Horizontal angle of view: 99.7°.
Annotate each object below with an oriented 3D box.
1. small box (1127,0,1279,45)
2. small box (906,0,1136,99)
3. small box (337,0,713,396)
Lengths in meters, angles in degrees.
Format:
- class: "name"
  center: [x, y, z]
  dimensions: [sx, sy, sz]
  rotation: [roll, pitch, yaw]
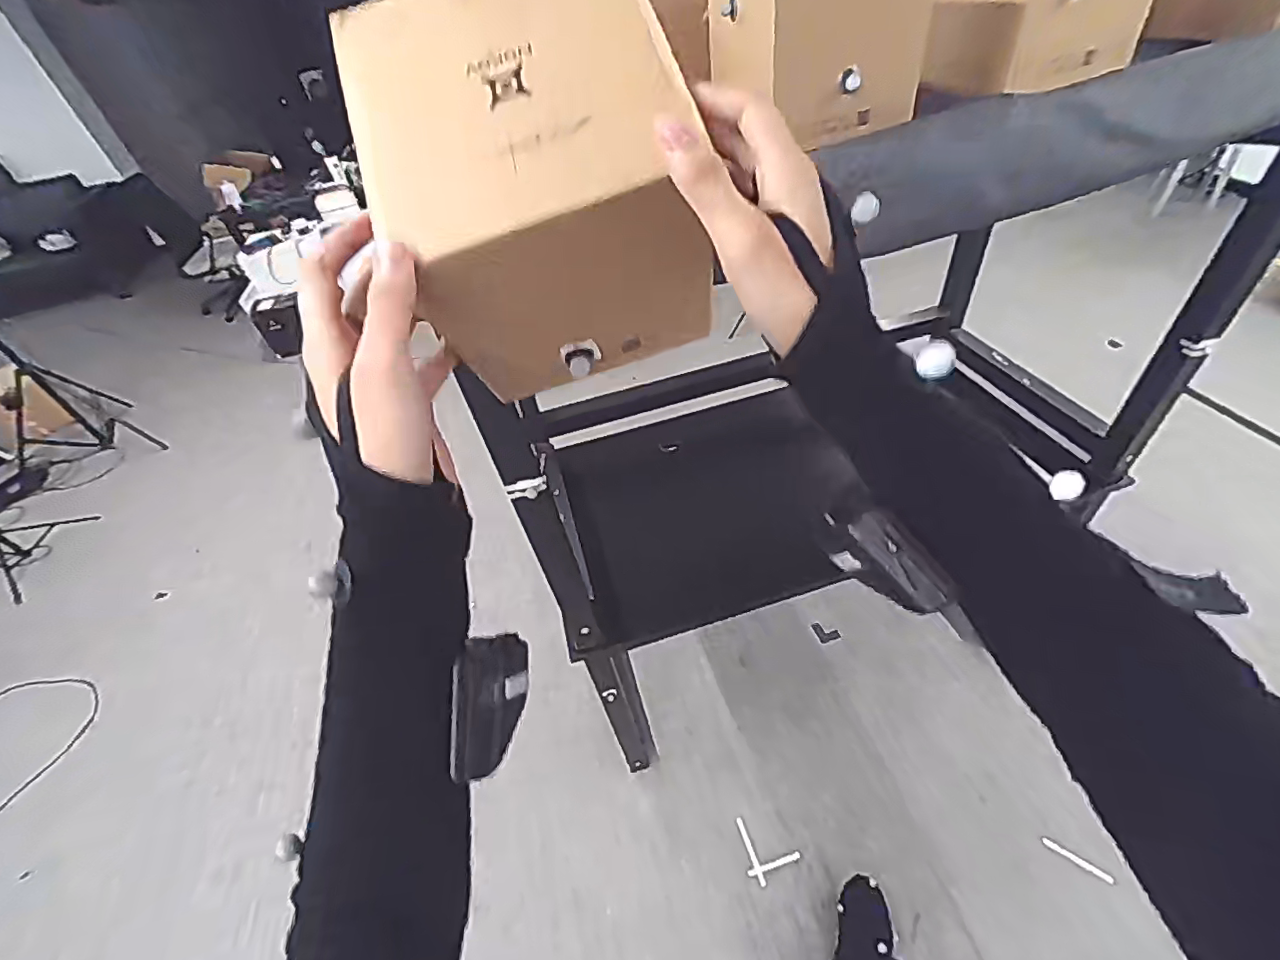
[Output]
- class: "small box"
  center: [0.751, -0.636, 0.637]
  dimensions: [0.168, 0.176, 0.179]
  rotation: [-15, 41, -4]
- class: "small box"
  center: [0.443, -0.562, 0.627]
  dimensions: [0.168, 0.176, 0.179]
  rotation: [-17, 42, -6]
- class: "small box"
  center: [-0.059, -0.183, 0.352]
  dimensions: [0.168, 0.176, 0.179]
  rotation: [-19, 74, 2]
